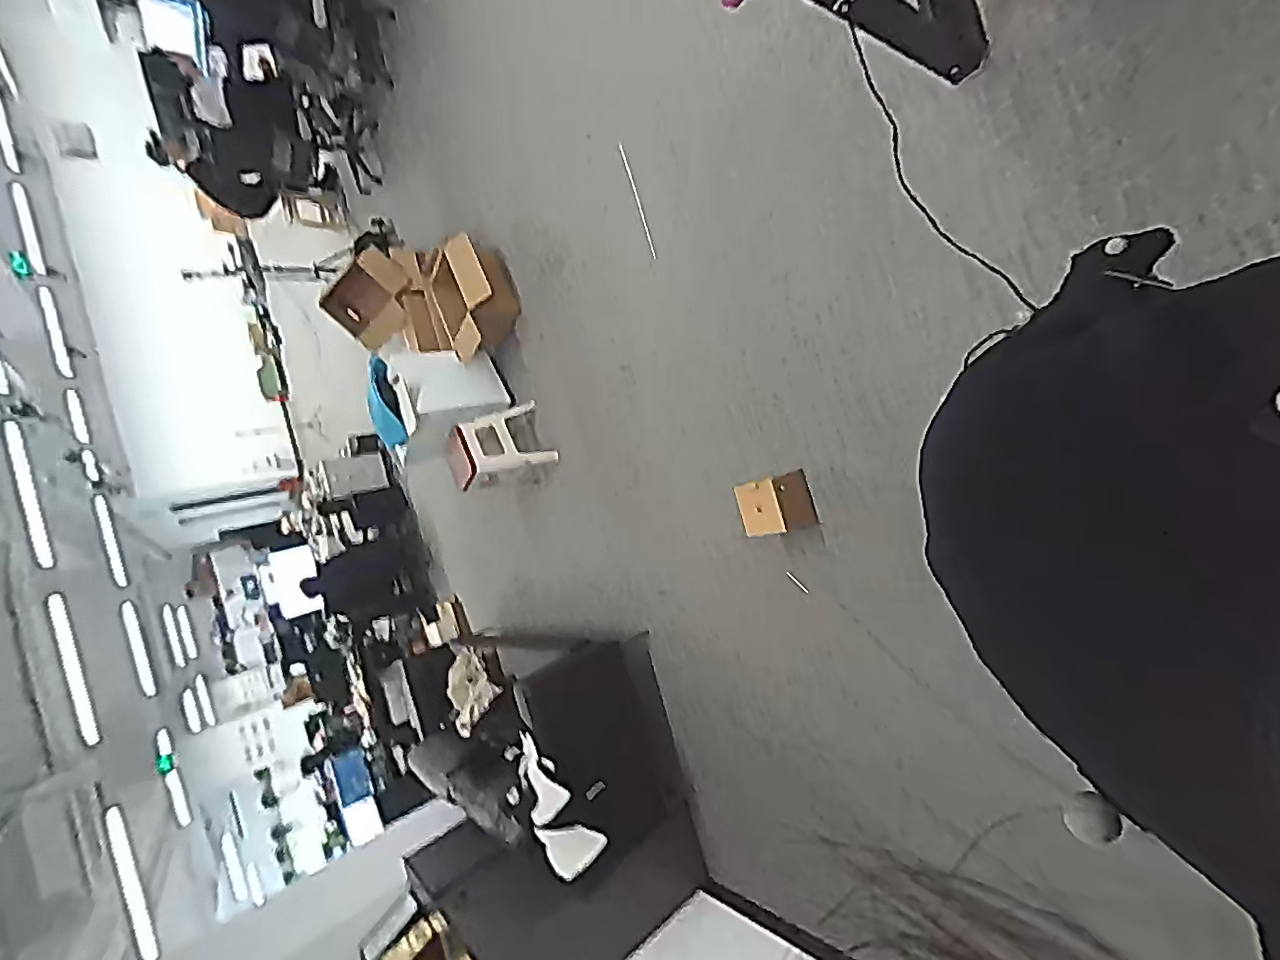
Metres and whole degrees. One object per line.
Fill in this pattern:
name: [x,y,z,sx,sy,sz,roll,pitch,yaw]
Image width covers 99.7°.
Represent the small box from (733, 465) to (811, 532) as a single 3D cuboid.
small box: [0.443,0.061,1.800,0.168,0.176,0.179,-17,88,52]
